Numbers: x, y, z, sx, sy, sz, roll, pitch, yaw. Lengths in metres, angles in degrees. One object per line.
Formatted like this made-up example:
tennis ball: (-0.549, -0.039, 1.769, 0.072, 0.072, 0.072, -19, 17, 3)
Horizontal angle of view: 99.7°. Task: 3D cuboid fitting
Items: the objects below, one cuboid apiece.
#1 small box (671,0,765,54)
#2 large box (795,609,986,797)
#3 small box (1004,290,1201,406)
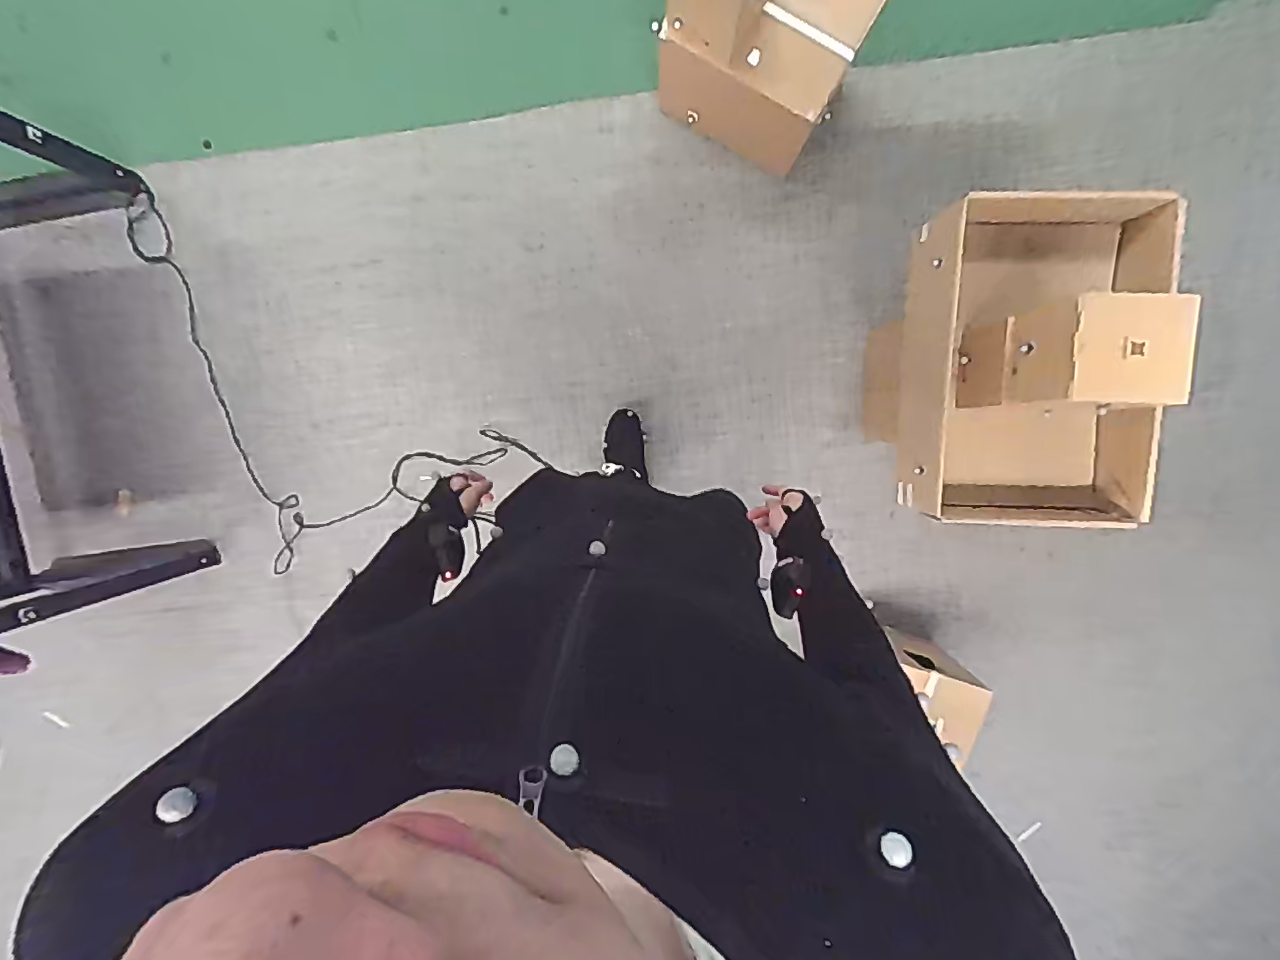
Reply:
small box: (0.172, -1.028, 1.092, 0.168, 0.176, 0.179, 33, 97, -3)
large box: (0.671, 0.637, 1.519, 0.320, 0.320, 0.408, 17, 96, 0)
small box: (0.756, -0.211, 0.902, 0.179, 0.176, 0.168, 2, 96, 3)
